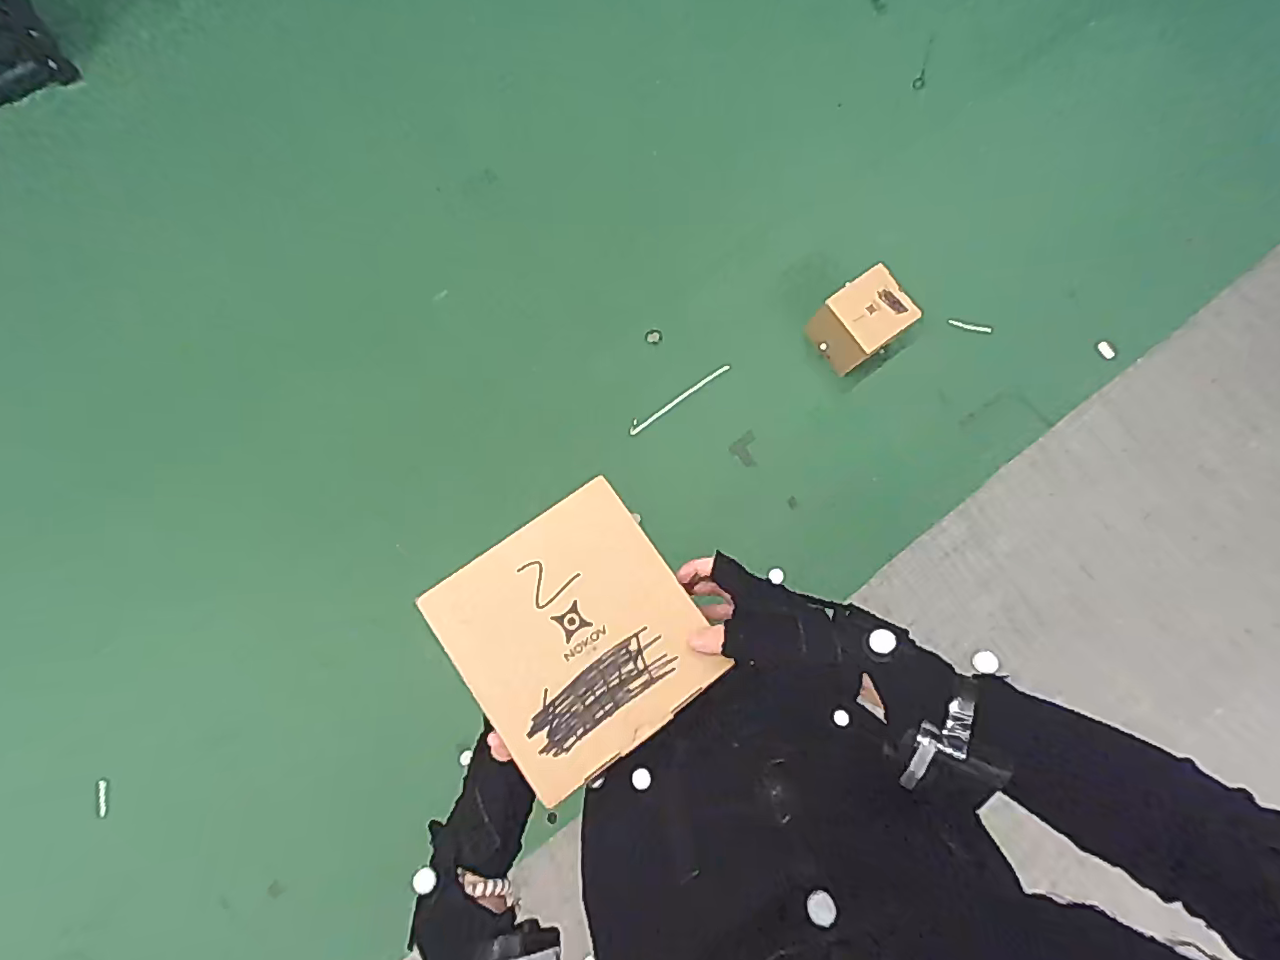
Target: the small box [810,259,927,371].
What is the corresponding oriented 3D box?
[{"bbox_3d":[0.557,-0.403,1.347,0.179,0.176,0.168,-35,84,-6],"label":"small box"}]
